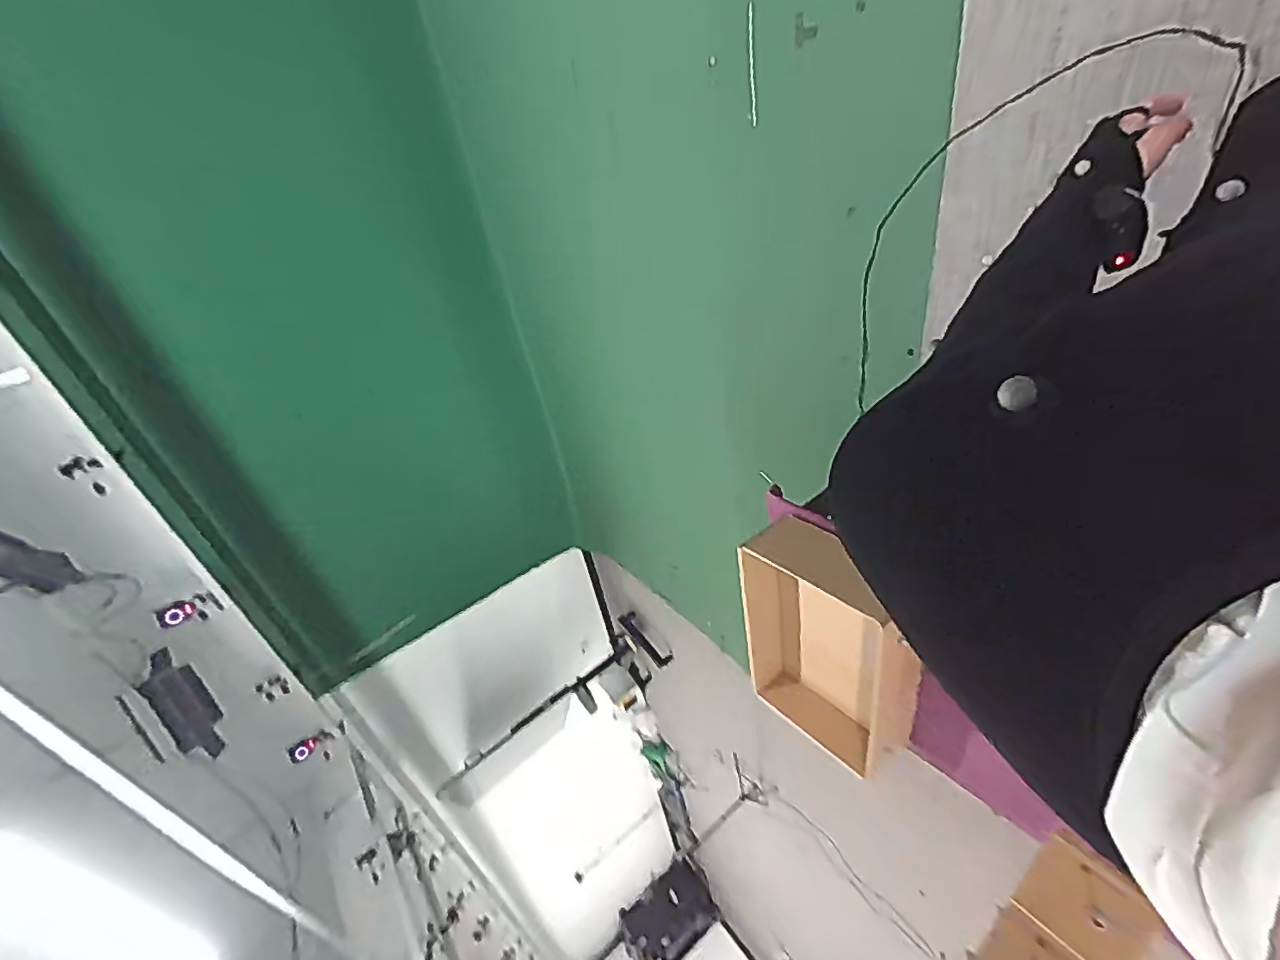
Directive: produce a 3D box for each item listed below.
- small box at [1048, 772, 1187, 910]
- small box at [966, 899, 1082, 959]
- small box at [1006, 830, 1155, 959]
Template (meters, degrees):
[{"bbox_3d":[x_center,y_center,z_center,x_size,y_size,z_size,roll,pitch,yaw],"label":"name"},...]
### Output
[{"bbox_3d":[0.896,0.709,1.037,0.168,0.176,0.179,30,141,47],"label":"small box"},{"bbox_3d":[0.642,0.856,0.896,0.168,0.176,0.179,30,140,48],"label":"small box"},{"bbox_3d":[0.770,0.778,0.964,0.168,0.176,0.179,29,141,47],"label":"small box"}]
